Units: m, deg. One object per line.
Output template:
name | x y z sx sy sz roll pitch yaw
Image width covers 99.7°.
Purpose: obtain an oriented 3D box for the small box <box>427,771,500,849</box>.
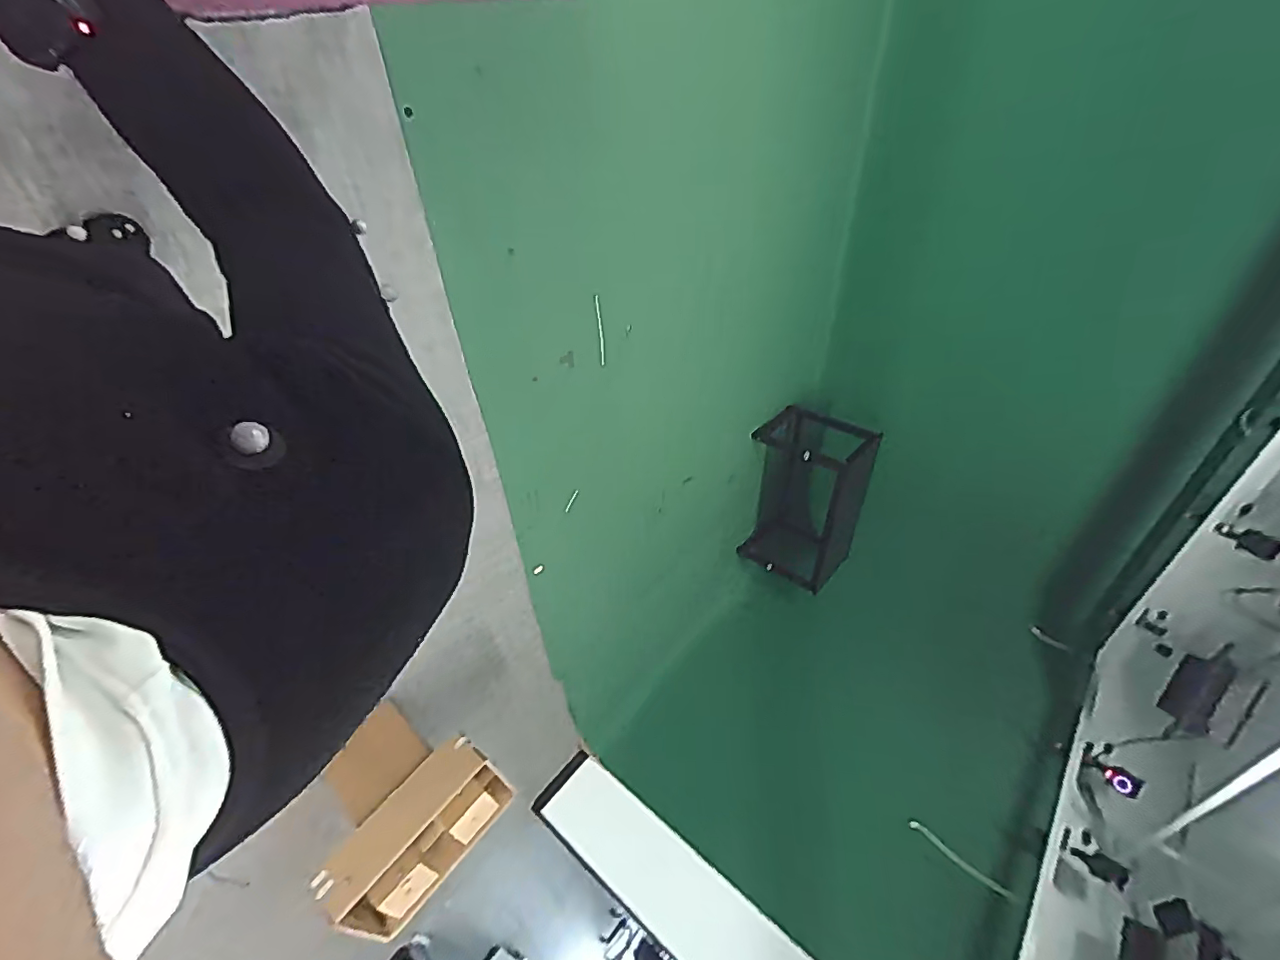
small box | -0.660 1.228 2.022 0.168 0.176 0.179 -44 143 -30
